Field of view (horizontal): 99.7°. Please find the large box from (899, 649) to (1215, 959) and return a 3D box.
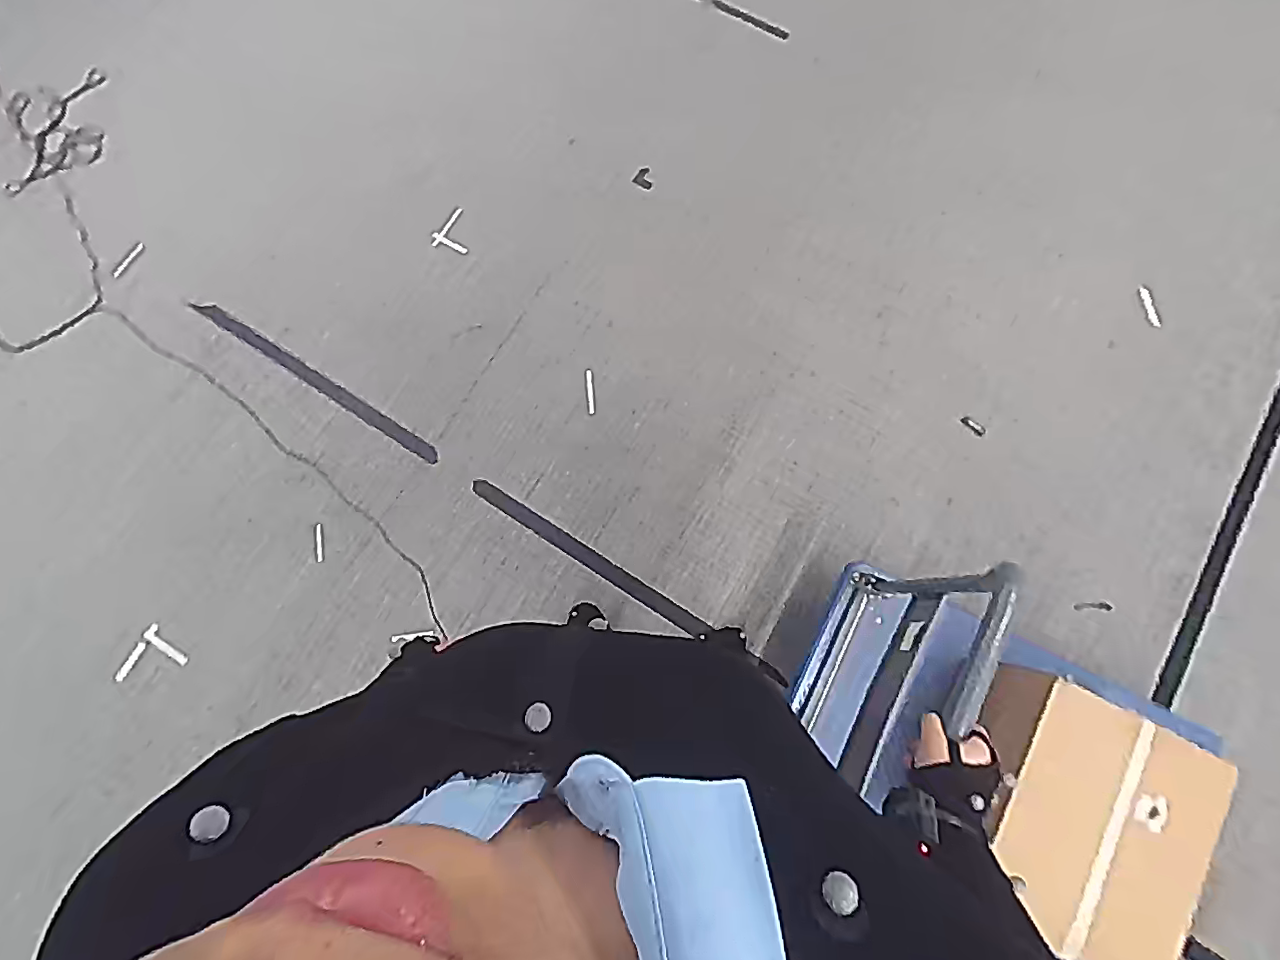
[{"bbox_3d":[0.786,0.600,1.073,0.320,0.320,0.408,27,80,7],"label":"large box"}]
